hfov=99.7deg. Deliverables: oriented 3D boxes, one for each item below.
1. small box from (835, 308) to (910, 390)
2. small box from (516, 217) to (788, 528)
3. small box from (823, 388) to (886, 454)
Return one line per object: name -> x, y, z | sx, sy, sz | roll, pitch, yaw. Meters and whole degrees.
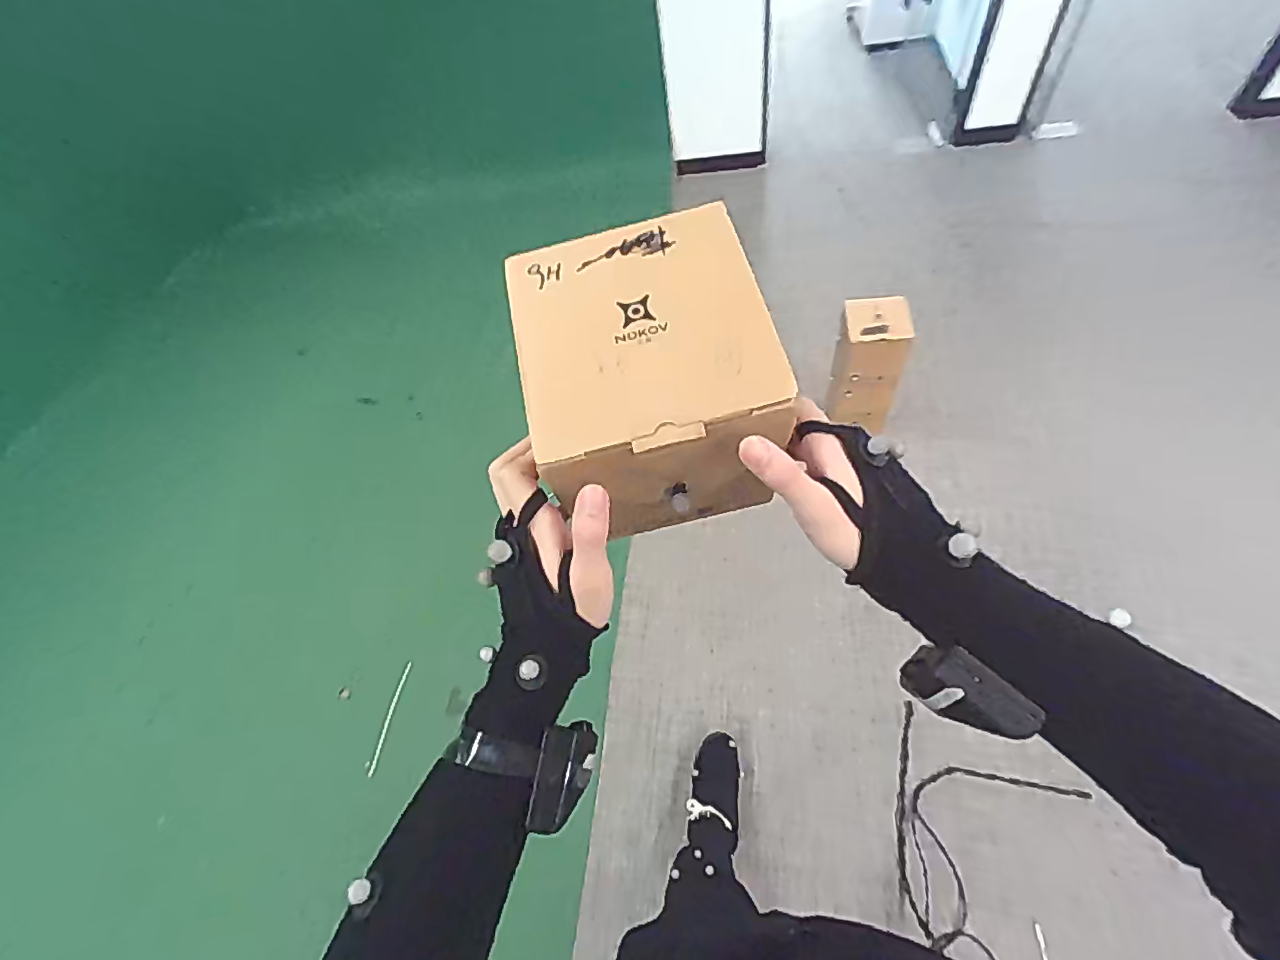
small box -> 0.670, -0.374, 1.578 | 0.168, 0.176, 0.179 | -1, 55, 11
small box -> 0.011, -0.071, 0.448 | 0.168, 0.176, 0.179 | -14, 65, 2
small box -> 0.726, -0.200, 1.851 | 0.179, 0.176, 0.168 | 1, 56, 11
